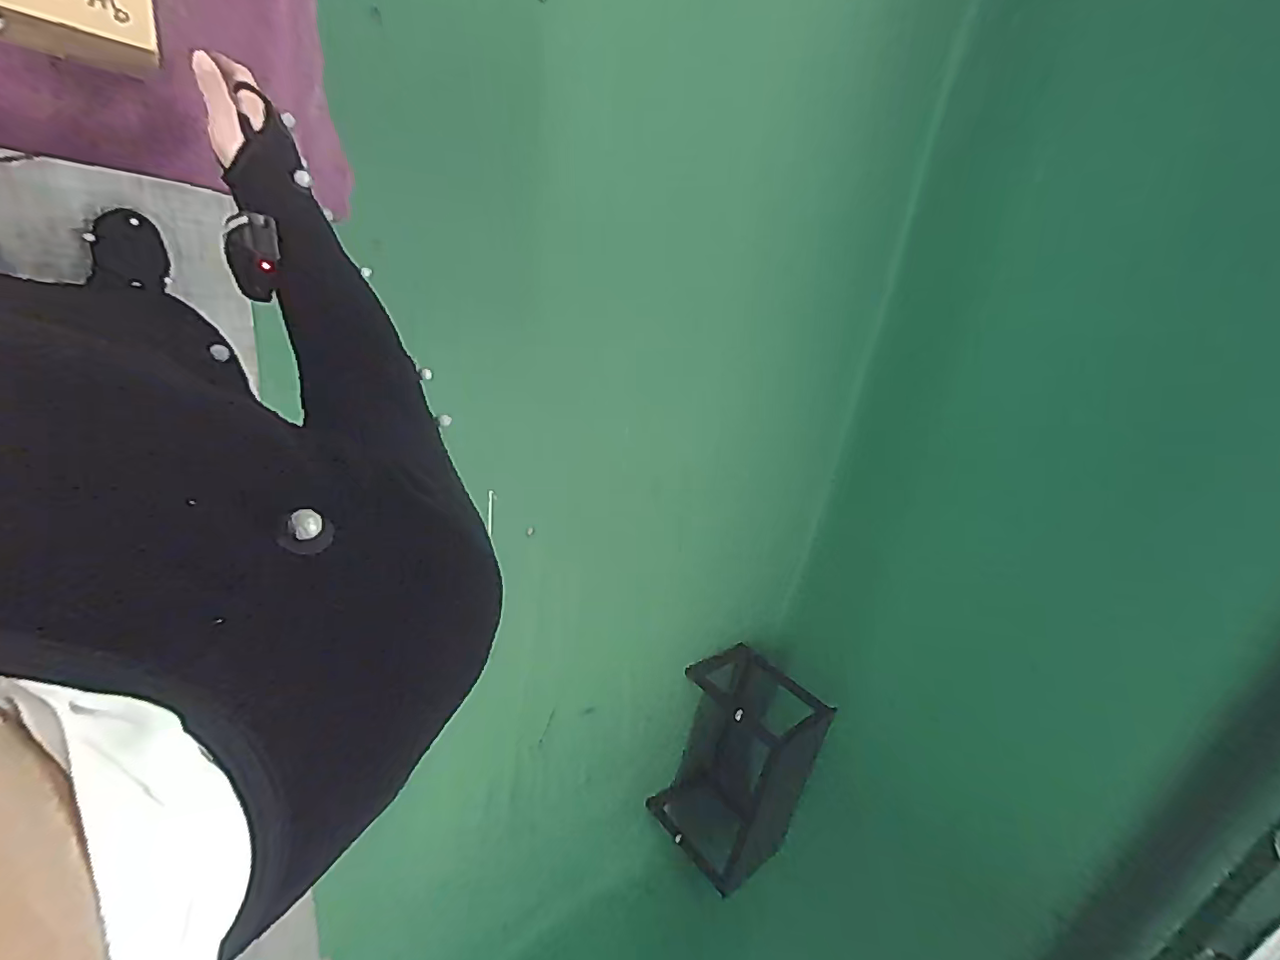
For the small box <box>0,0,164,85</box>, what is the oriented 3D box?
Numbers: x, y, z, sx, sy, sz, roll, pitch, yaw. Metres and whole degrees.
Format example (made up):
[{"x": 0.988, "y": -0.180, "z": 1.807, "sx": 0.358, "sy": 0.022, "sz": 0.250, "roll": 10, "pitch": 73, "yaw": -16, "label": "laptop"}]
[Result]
[{"x": -0.519, "y": -0.467, "z": 0.450, "sx": 0.168, "sy": 0.176, "sz": 0.179, "roll": -8, "pitch": 116, "yaw": -40, "label": "small box"}]
